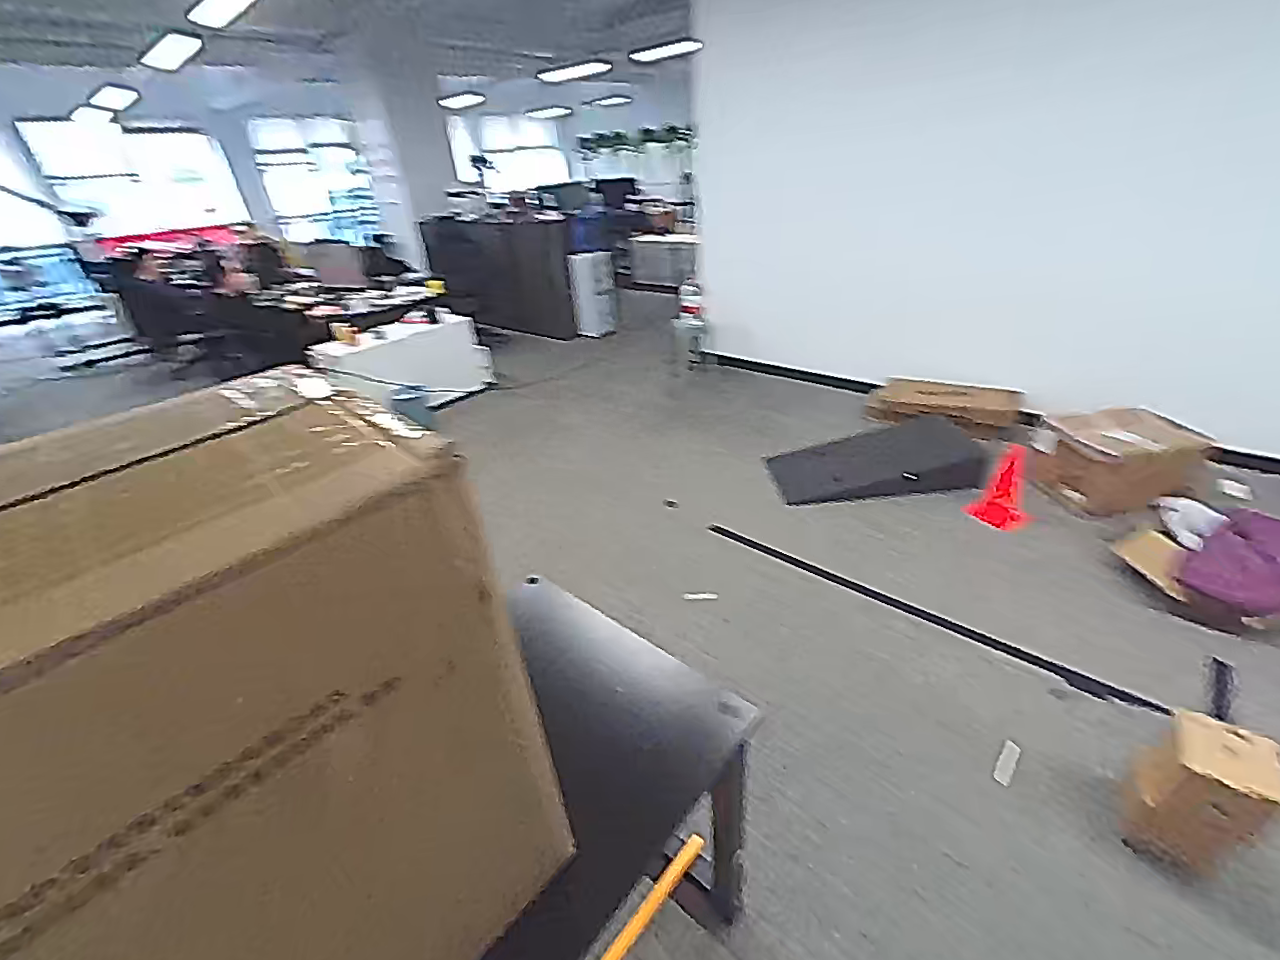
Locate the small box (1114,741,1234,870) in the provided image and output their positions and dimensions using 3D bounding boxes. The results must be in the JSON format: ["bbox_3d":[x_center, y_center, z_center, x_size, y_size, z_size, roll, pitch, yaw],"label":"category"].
[{"bbox_3d":[1.288,0.791,1.320,0.168,0.176,0.179,16,38,33],"label":"small box"}]

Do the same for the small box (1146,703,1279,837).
[{"bbox_3d":[1.287,0.655,1.225,0.168,0.176,0.179,15,37,32],"label":"small box"}]
